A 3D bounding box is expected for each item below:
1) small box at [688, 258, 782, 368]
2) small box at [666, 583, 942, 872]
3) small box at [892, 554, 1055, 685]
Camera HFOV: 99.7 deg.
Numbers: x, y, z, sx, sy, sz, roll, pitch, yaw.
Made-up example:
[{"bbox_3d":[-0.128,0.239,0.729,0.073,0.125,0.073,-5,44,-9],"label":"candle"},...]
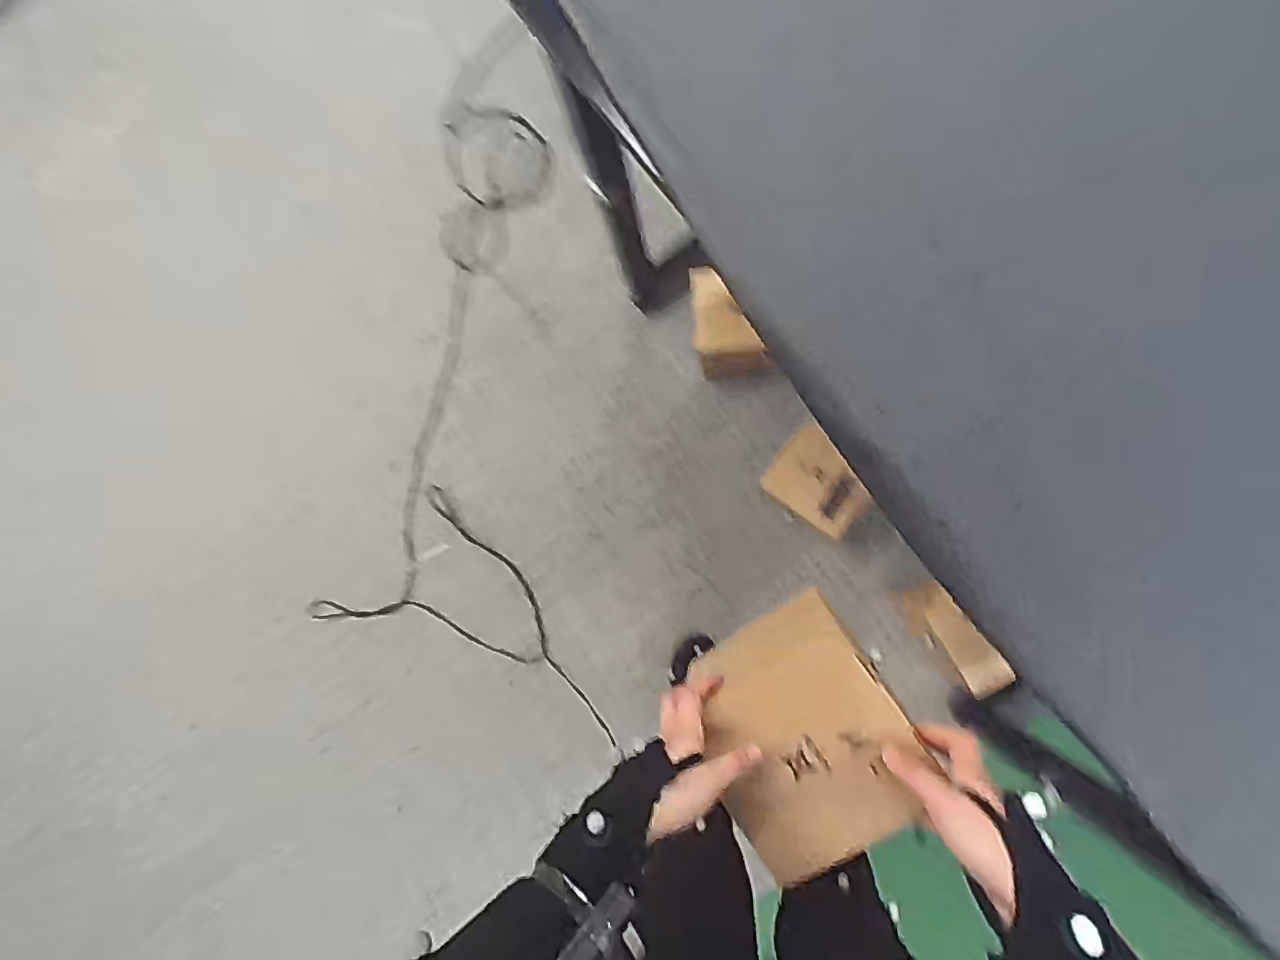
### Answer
[{"bbox_3d":[0.197,-0.343,1.139,0.179,0.176,0.168,-4,84,6],"label":"small box"},{"bbox_3d":[0.153,0.227,0.541,0.179,0.176,0.168,-36,84,11],"label":"small box"},{"bbox_3d":[0.615,0.253,1.027,0.168,0.176,0.179,-31,83,4],"label":"small box"}]
